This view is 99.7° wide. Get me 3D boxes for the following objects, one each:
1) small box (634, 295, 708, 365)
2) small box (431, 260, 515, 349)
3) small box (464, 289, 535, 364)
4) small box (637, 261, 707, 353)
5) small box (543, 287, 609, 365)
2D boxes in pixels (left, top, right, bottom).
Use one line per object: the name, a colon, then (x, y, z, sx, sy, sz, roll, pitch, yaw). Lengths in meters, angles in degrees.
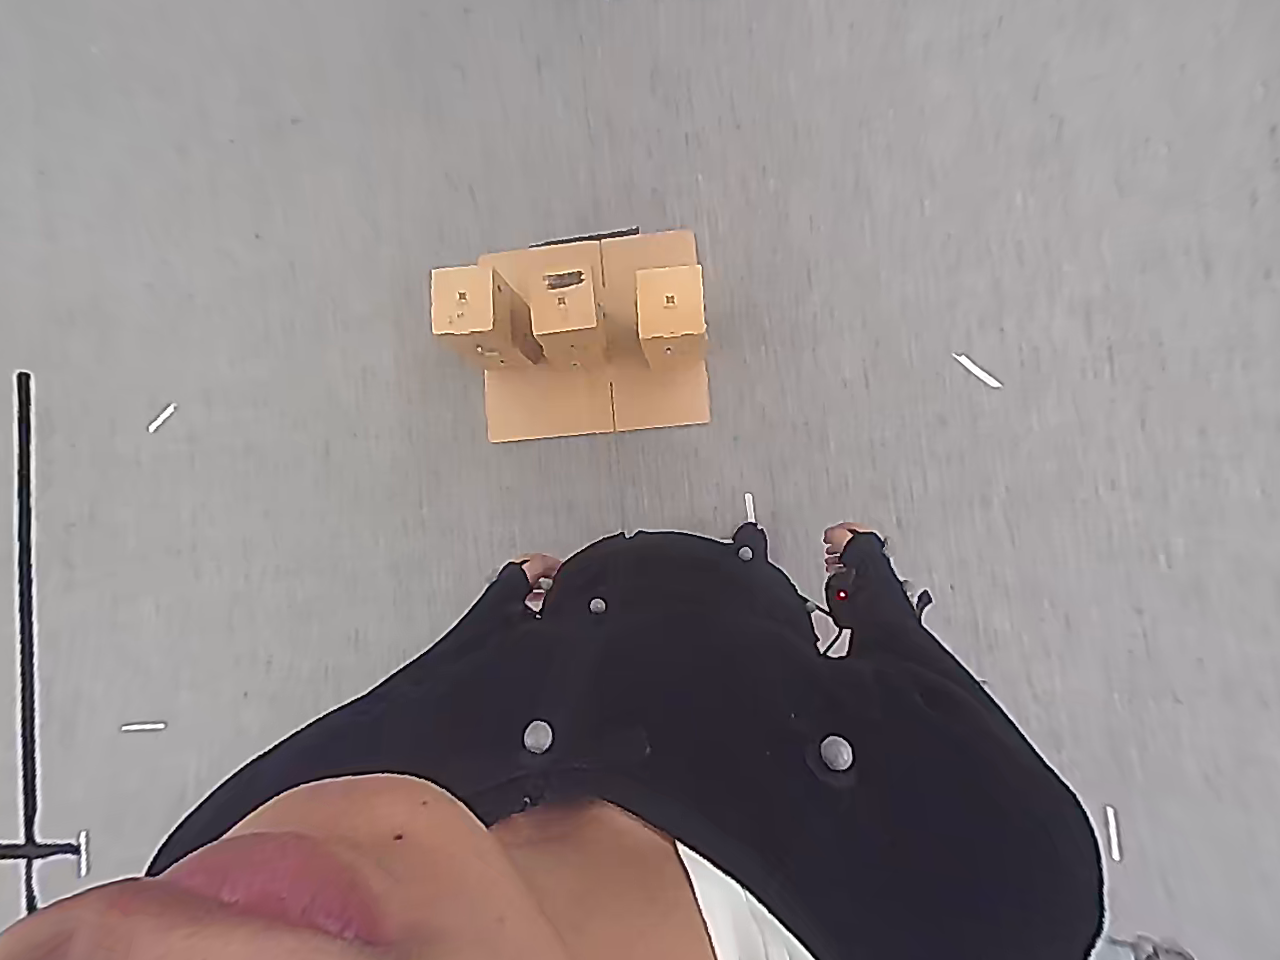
small box: (0.093, -0.445, 1.560, 0.179, 0.176, 0.168, -14, 87, 4)
small box: (-0.442, -0.463, 1.446, 0.168, 0.176, 0.179, -2, 88, 6)
small box: (-0.415, -0.449, 1.609, 0.168, 0.176, 0.179, -3, 88, 6)
small box: (0.083, -0.441, 1.397, 0.168, 0.176, 0.179, -4, 88, 5)
small box: (-0.185, -0.448, 1.587, 0.168, 0.176, 0.179, -1, 87, 5)
